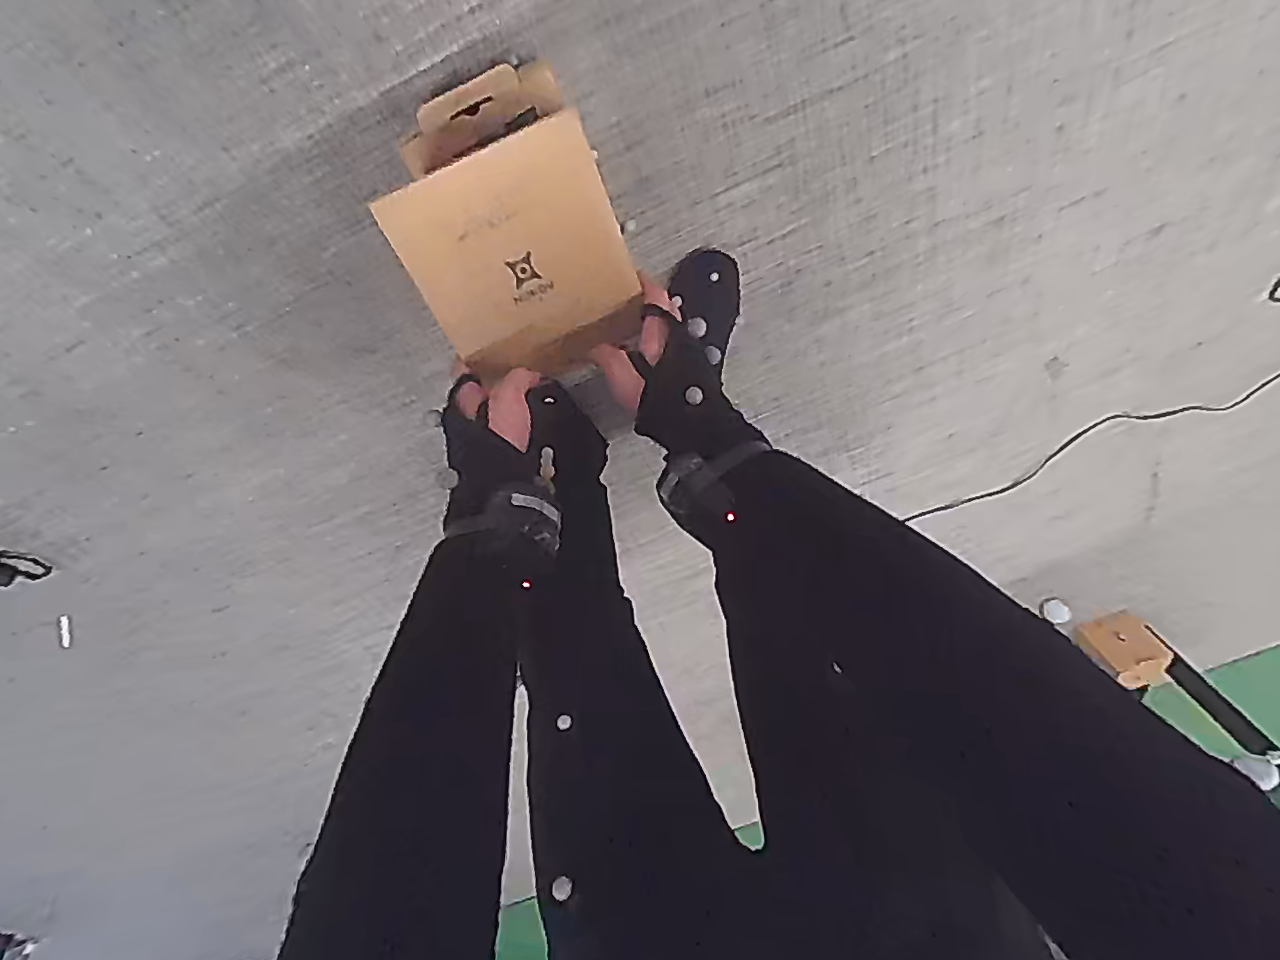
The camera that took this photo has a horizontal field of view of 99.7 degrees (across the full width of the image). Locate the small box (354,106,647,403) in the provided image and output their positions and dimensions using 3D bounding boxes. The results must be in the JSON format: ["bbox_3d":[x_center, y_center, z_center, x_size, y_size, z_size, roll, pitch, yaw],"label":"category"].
[{"bbox_3d":[-0.105,-0.203,0.482,0.168,0.176,0.179,-22,123,7],"label":"small box"}]

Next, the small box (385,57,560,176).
[{"bbox_3d":[-0.149,-0.337,0.607,0.168,0.176,0.179,-23,131,6],"label":"small box"}]
